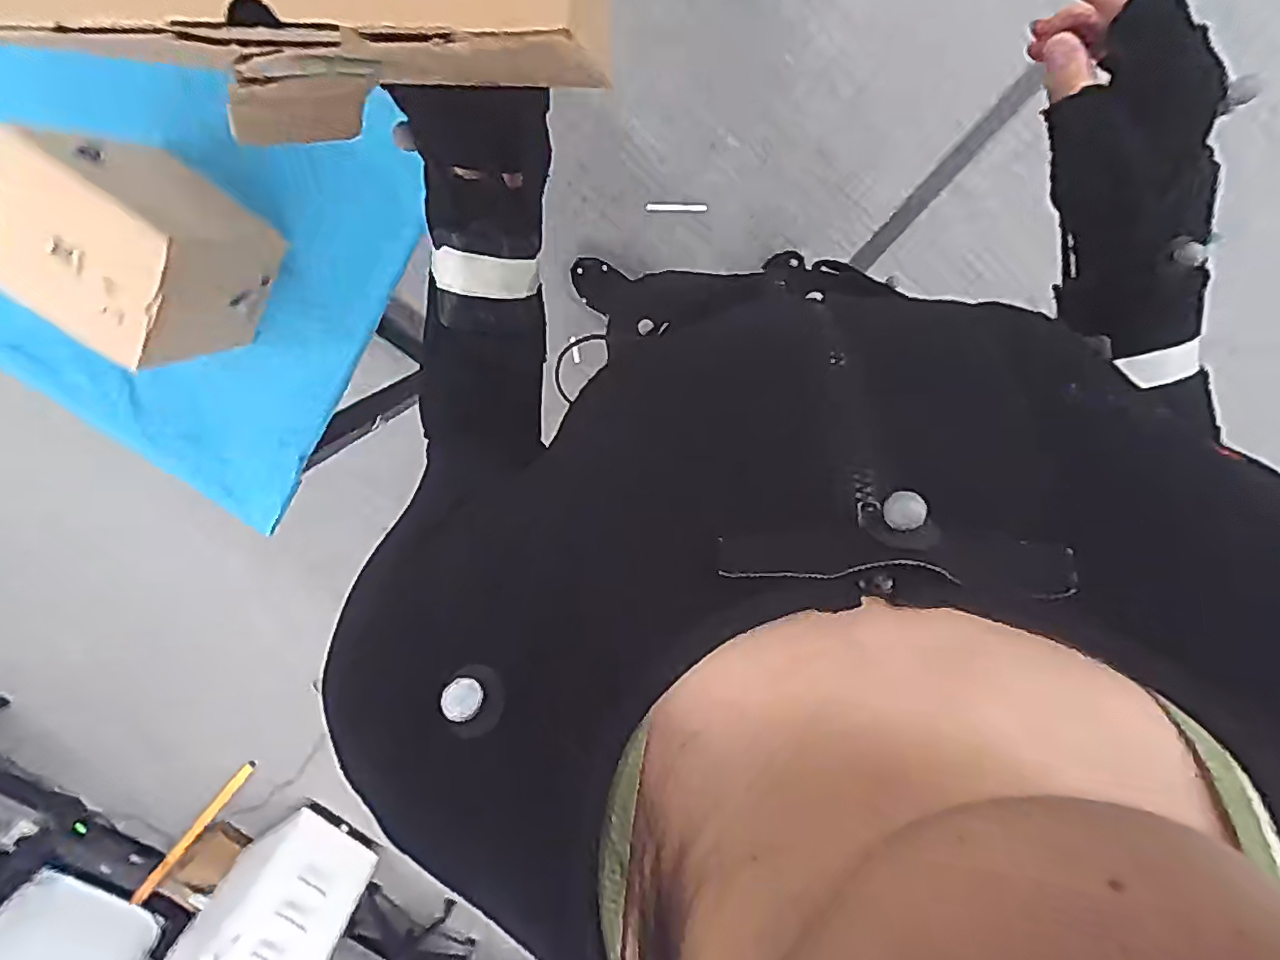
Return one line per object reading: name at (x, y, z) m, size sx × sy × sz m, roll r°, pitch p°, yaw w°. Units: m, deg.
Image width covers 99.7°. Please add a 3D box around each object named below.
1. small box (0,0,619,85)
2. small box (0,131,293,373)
small box at (-0.093, -0.231, 0.161) m, size 0.168 × 0.176 × 0.179 m, roll 2°, pitch 122°, yaw 1°
small box at (-0.558, -0.256, 0.624) m, size 0.179 × 0.176 × 0.168 m, roll 38°, pitch 115°, yaw -13°
